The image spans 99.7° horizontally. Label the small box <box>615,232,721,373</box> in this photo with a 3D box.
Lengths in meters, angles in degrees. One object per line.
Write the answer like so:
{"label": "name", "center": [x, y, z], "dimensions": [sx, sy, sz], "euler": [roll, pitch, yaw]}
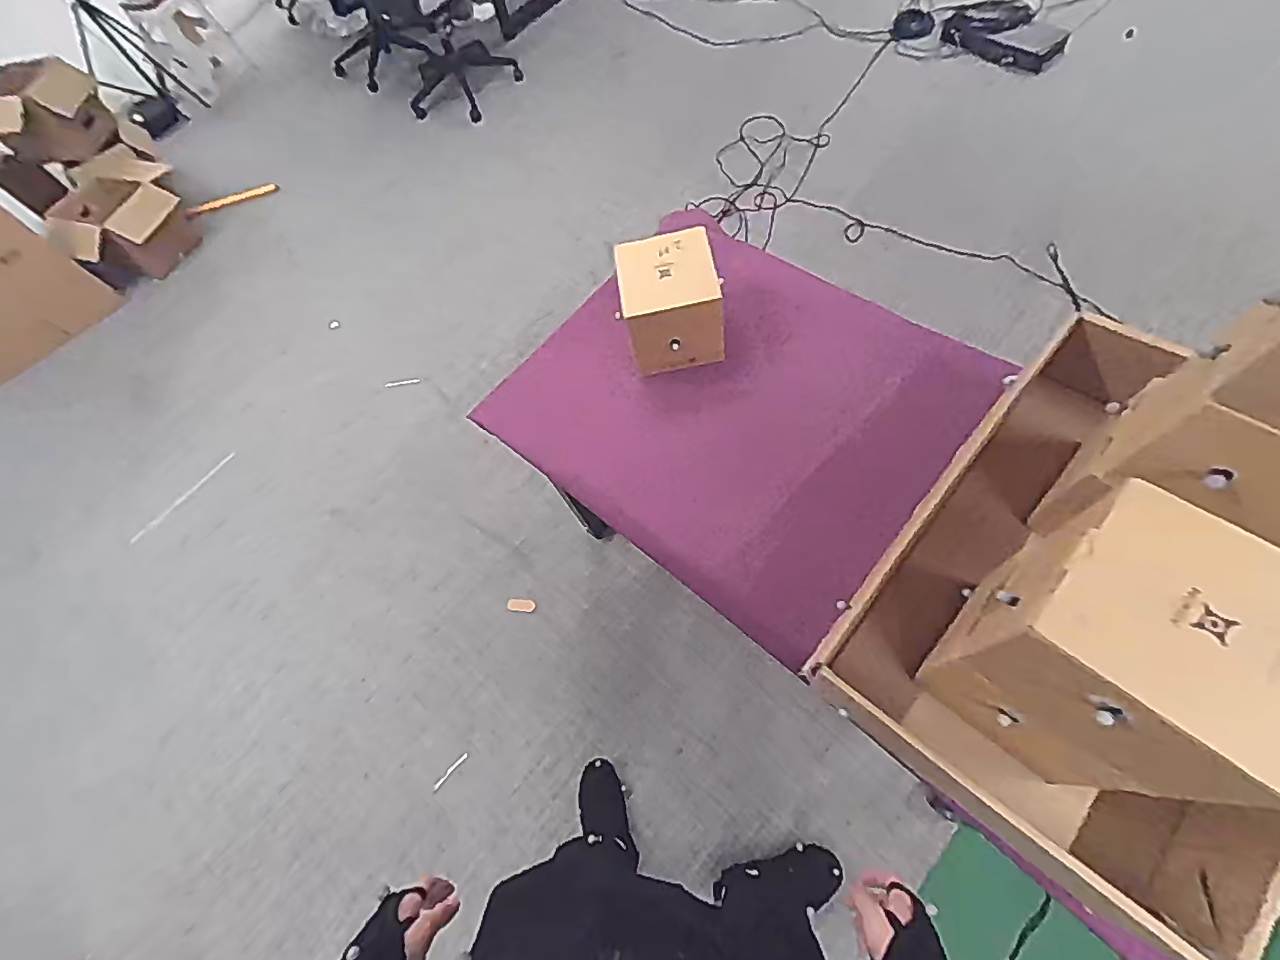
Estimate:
{"label": "small box", "center": [0.055, -0.314, 0.993], "dimensions": [0.168, 0.176, 0.179], "euler": [-9, 63, 4]}

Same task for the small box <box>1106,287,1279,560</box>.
{"label": "small box", "center": [0.608, -0.041, 0.520], "dimensions": [0.168, 0.176, 0.179], "euler": [38, 77, 25]}

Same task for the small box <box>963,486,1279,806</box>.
{"label": "small box", "center": [0.422, 0.143, 0.463], "dimensions": [0.179, 0.176, 0.168], "euler": [39, 77, 25]}

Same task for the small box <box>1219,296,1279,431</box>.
{"label": "small box", "center": [0.581, -0.112, 0.375], "dimensions": [0.168, 0.176, 0.179], "euler": [38, 78, 24]}
